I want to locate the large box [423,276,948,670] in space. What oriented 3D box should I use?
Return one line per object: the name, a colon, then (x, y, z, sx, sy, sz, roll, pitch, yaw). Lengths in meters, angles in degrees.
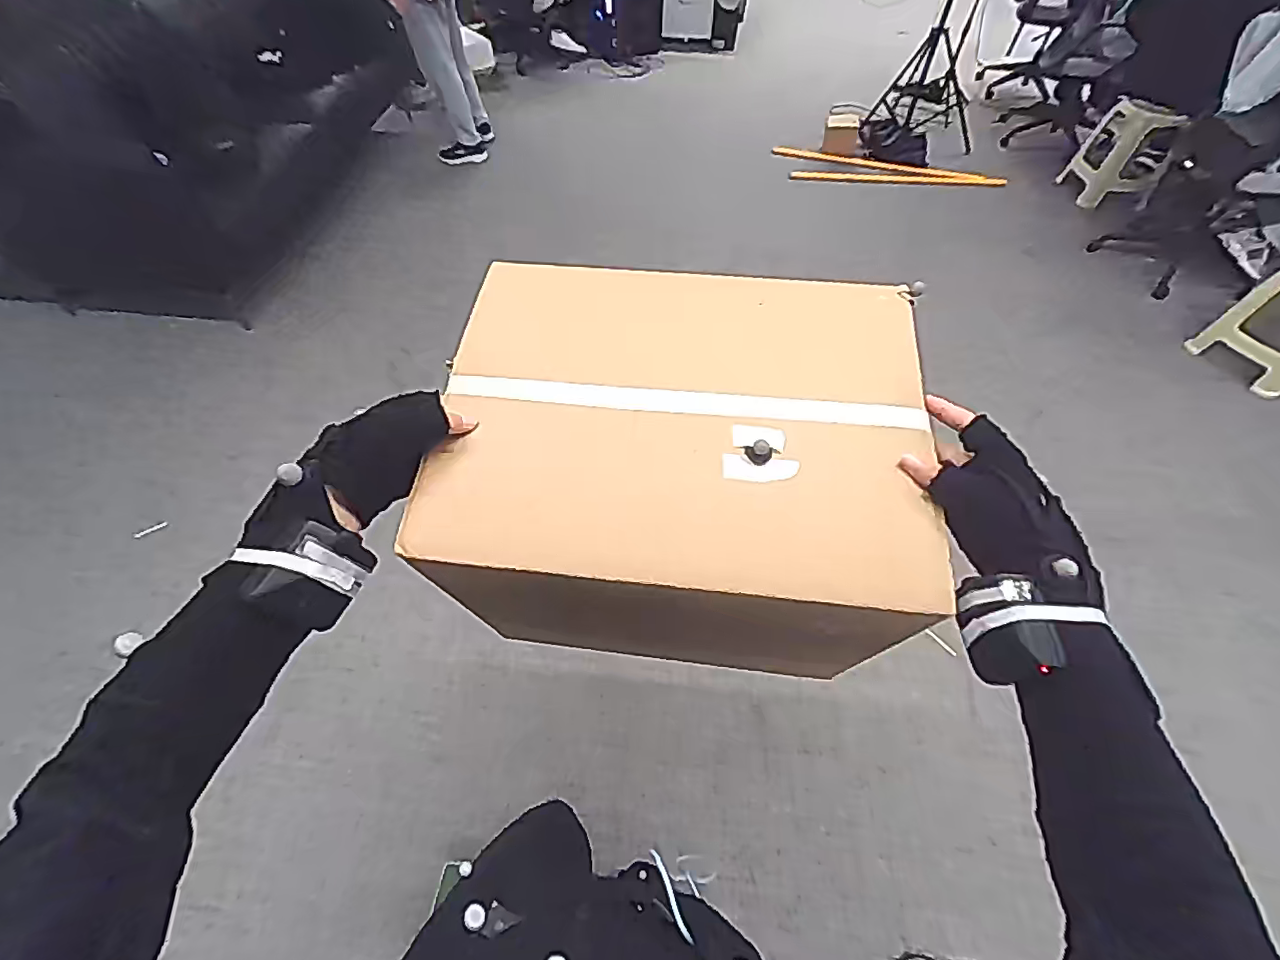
large box: (0.044, 0.010, 0.603, 0.408, 0.320, 0.320, 6, 63, 4)
